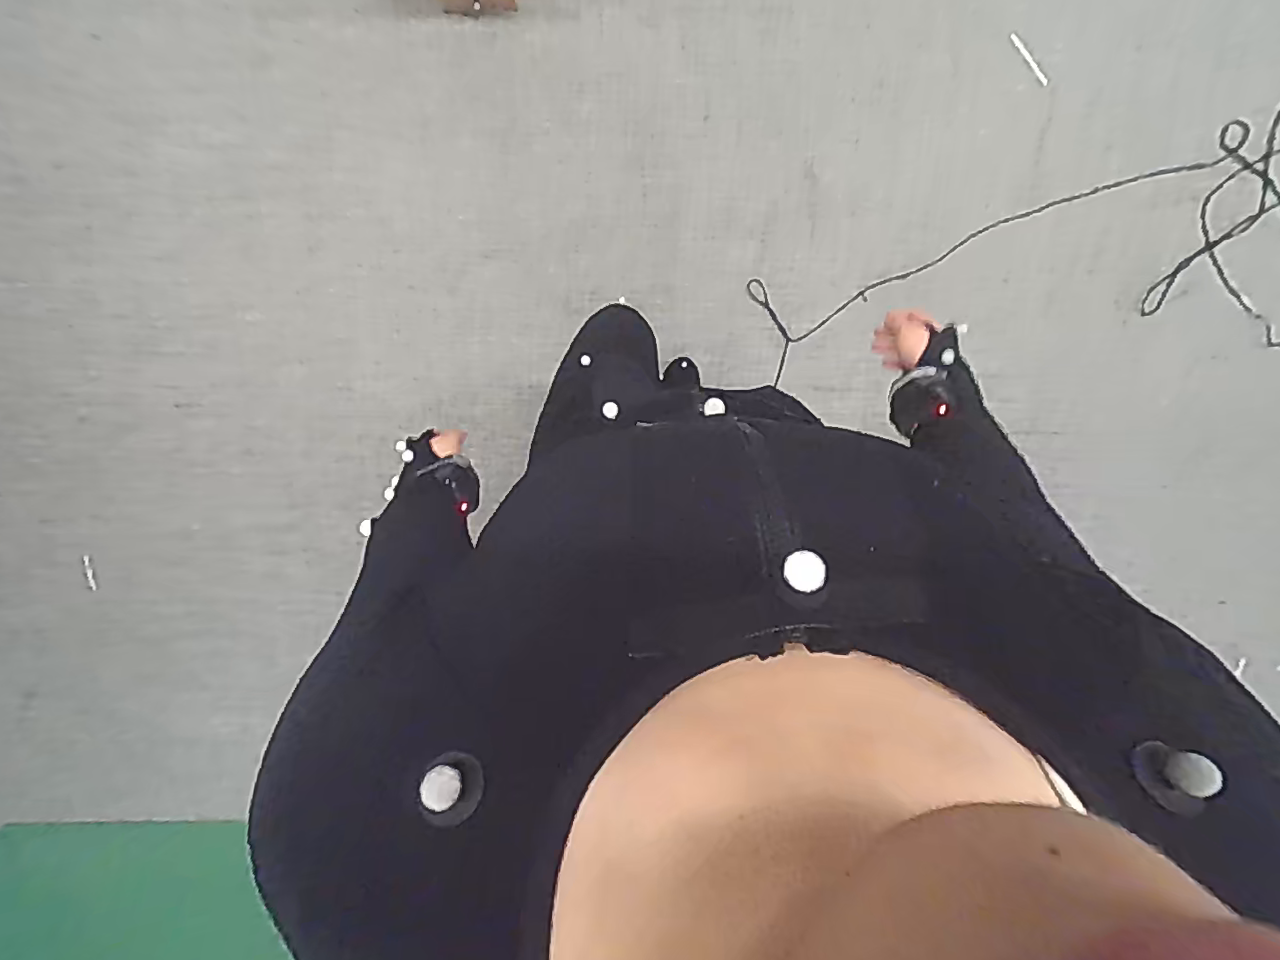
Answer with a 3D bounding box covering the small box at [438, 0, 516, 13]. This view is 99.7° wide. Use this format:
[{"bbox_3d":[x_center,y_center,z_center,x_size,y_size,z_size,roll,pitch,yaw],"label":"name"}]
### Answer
[{"bbox_3d":[-0.359,-1.121,1.132,0.179,0.176,0.168,-1,104,0],"label":"small box"}]
